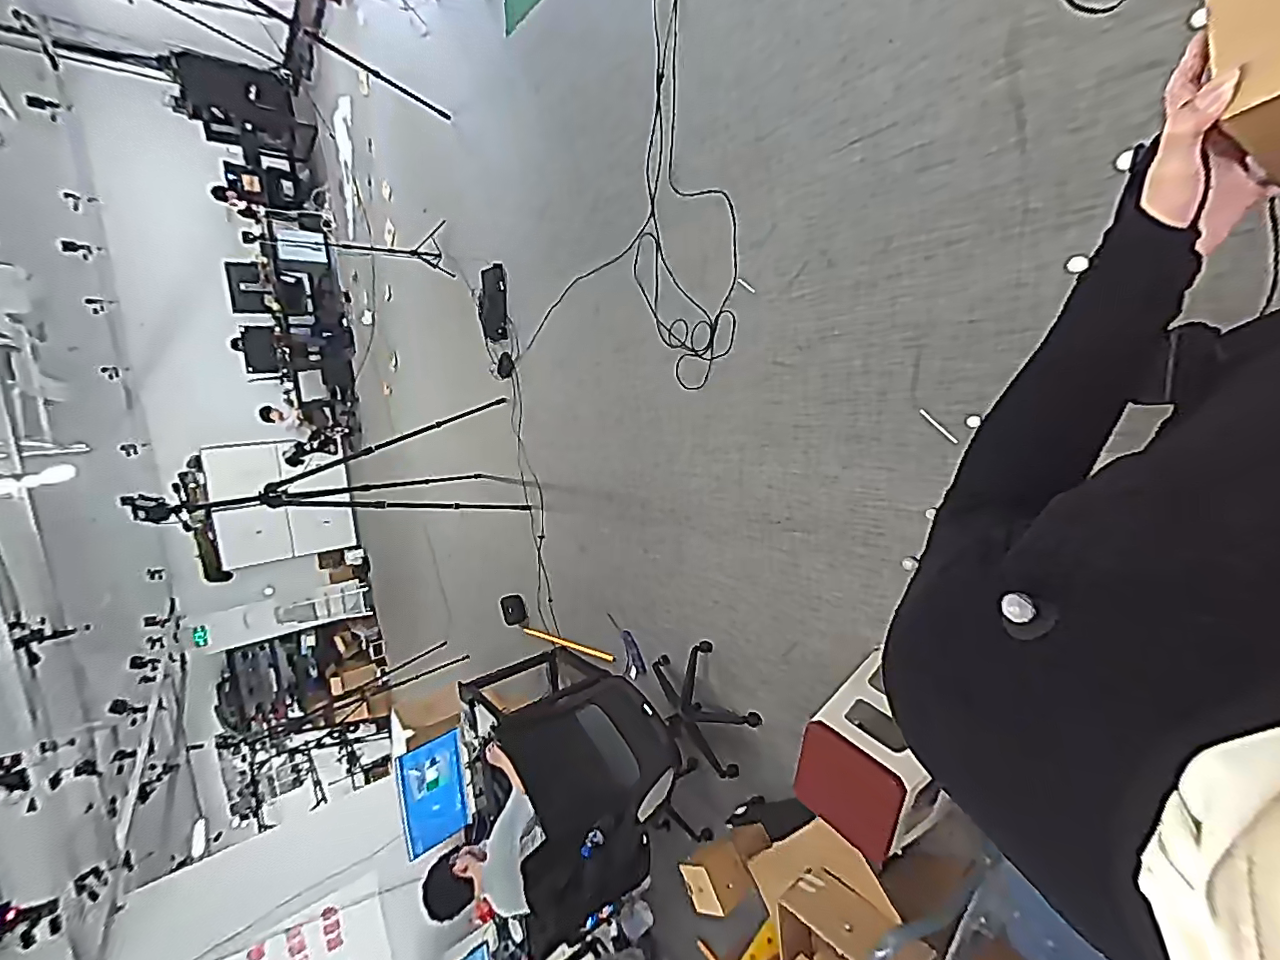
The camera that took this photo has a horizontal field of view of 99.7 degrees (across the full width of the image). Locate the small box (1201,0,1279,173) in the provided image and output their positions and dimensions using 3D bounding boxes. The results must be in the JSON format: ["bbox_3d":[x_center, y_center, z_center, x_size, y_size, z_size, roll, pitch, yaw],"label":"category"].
[{"bbox_3d":[0.482,-0.323,0.329,0.168,0.176,0.179,-5,87,60],"label":"small box"}]
